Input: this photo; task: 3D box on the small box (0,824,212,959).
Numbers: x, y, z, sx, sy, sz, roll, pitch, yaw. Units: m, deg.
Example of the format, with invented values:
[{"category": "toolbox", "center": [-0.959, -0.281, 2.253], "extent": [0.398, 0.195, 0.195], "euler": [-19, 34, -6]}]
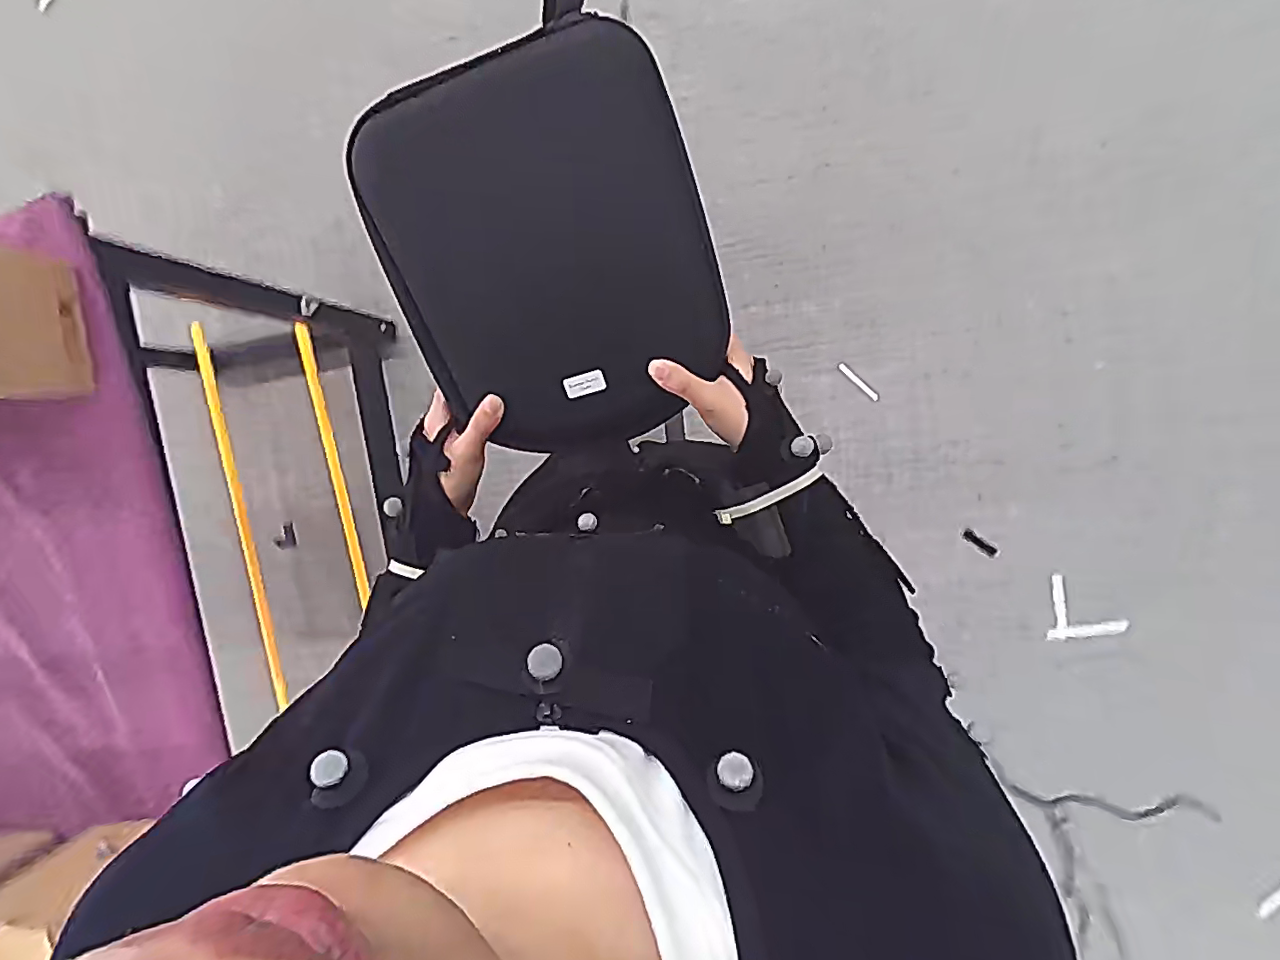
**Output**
[{"category": "small box", "center": [-0.717, 0.596, 0.714], "extent": [0.168, 0.176, 0.179], "euler": [-10, 94, 10]}]
